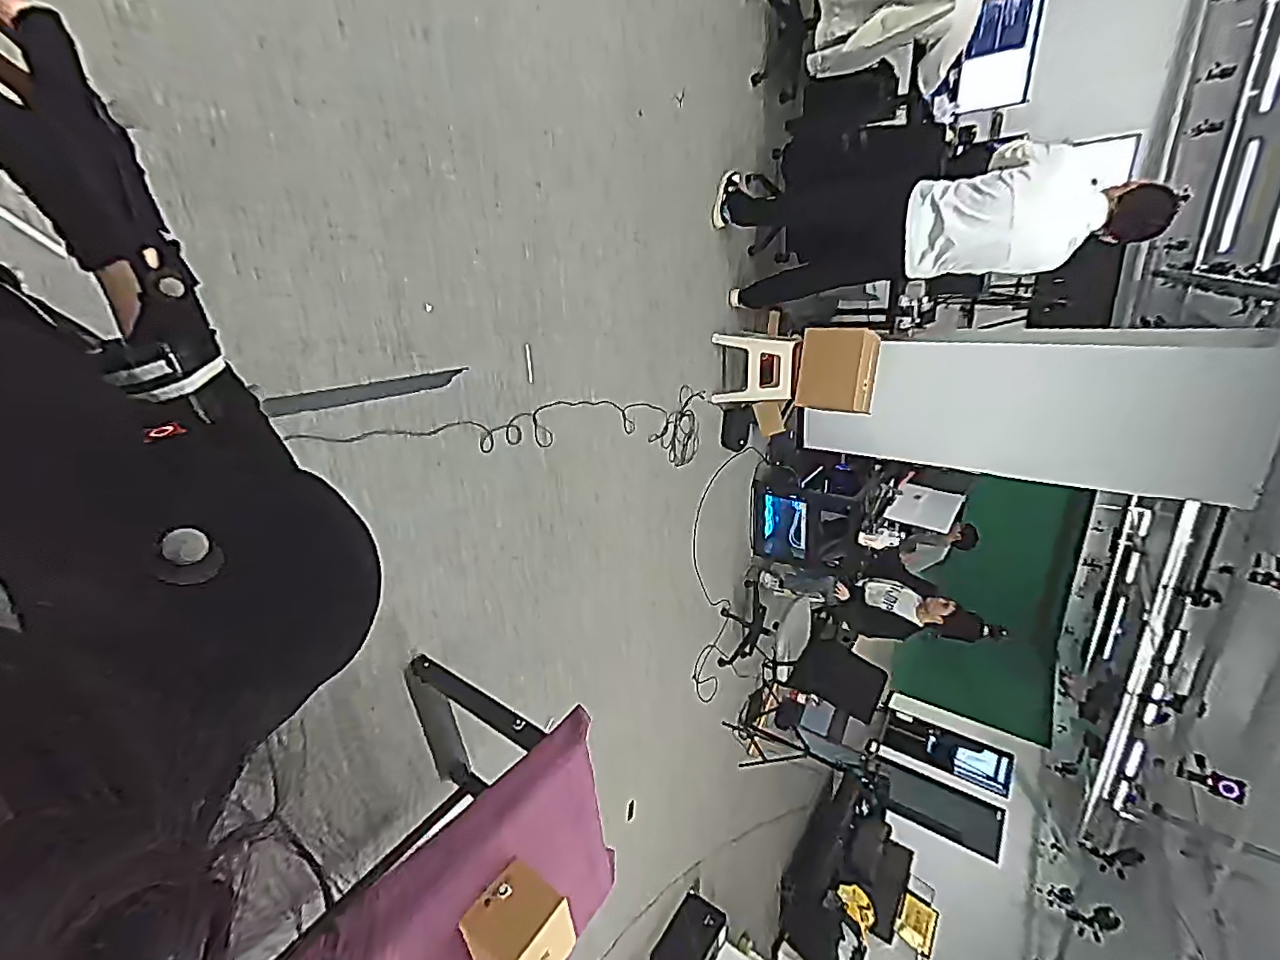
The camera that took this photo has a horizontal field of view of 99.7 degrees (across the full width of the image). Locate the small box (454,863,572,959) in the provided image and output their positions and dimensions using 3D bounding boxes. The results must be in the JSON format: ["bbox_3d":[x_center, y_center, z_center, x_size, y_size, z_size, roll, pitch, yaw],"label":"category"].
[{"bbox_3d":[-0.276,0.994,1.182,0.168,0.176,0.179,-34,125,-47],"label":"small box"}]
